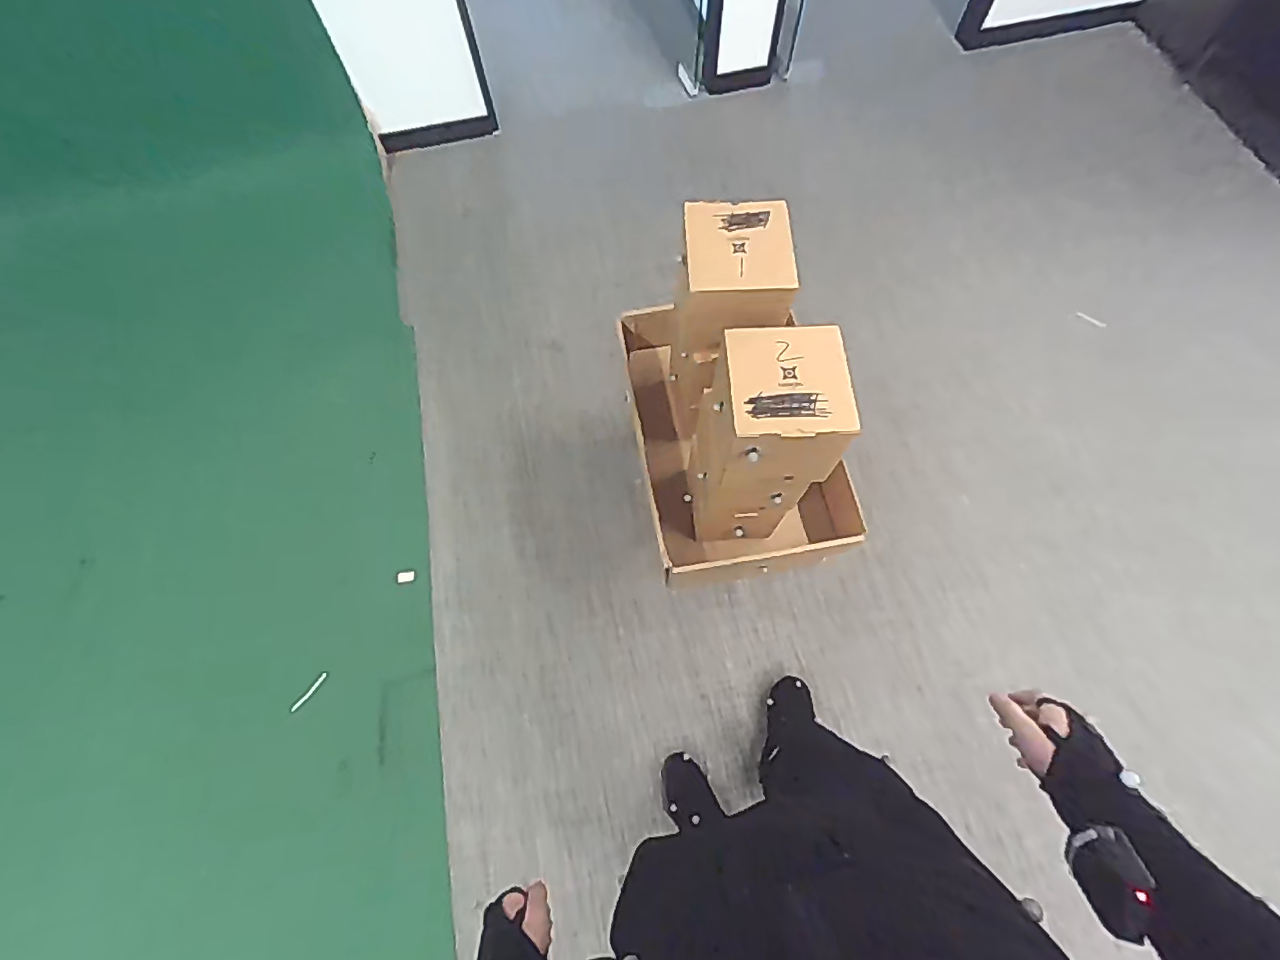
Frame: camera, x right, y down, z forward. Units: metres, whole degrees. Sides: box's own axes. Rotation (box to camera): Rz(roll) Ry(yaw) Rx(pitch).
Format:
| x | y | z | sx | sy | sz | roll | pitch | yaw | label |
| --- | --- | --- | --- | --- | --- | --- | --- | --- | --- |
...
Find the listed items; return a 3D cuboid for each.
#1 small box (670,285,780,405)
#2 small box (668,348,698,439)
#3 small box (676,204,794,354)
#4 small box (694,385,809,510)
| x | y | z | sx | sy | sz | roll | pitch | yaw | label |
| --- | --- | --- | --- | --- | --- | --- | --- | --- | --- |
| 0.157 | -0.272 | 1.066 | 0.168 | 0.176 | 0.179 | -10 | 70 | -4 | small box |
| 0.159 | -0.215 | 1.218 | 0.168 | 0.176 | 0.179 | -10 | 69 | -2 | small box |
| 0.150 | -0.334 | 0.914 | 0.168 | 0.176 | 0.179 | -1 | 70 | 0 | small box |
| 0.190 | -0.049 | 0.971 | 0.168 | 0.176 | 0.179 | -2 | 67 | -1 | small box |
